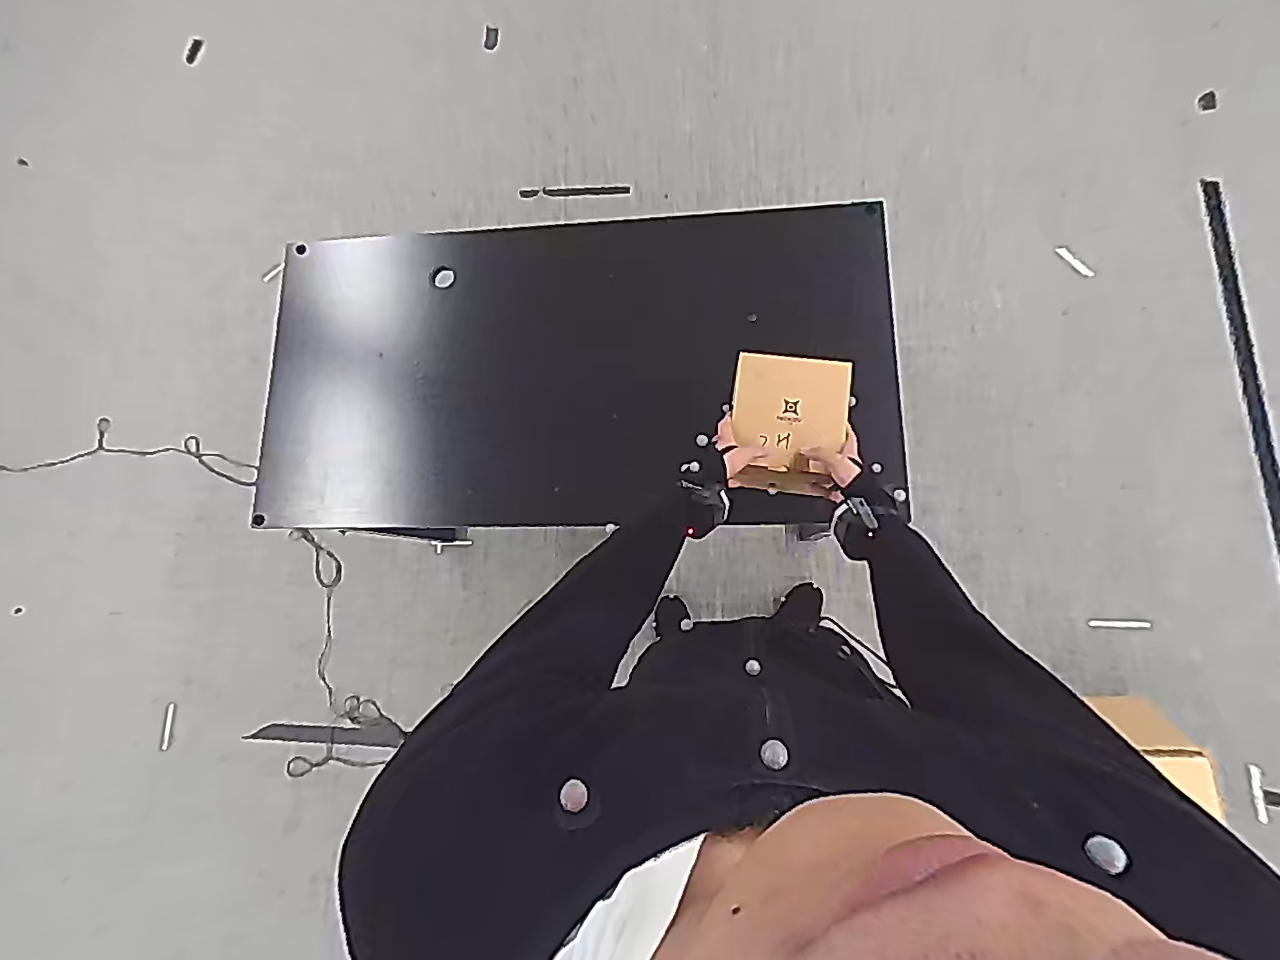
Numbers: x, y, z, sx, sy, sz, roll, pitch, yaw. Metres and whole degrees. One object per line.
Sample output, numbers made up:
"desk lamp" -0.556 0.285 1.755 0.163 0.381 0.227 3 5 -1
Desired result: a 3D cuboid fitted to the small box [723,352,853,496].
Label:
"small box" 0.225 -0.081 0.859 0.168 0.176 0.179 8 81 8
